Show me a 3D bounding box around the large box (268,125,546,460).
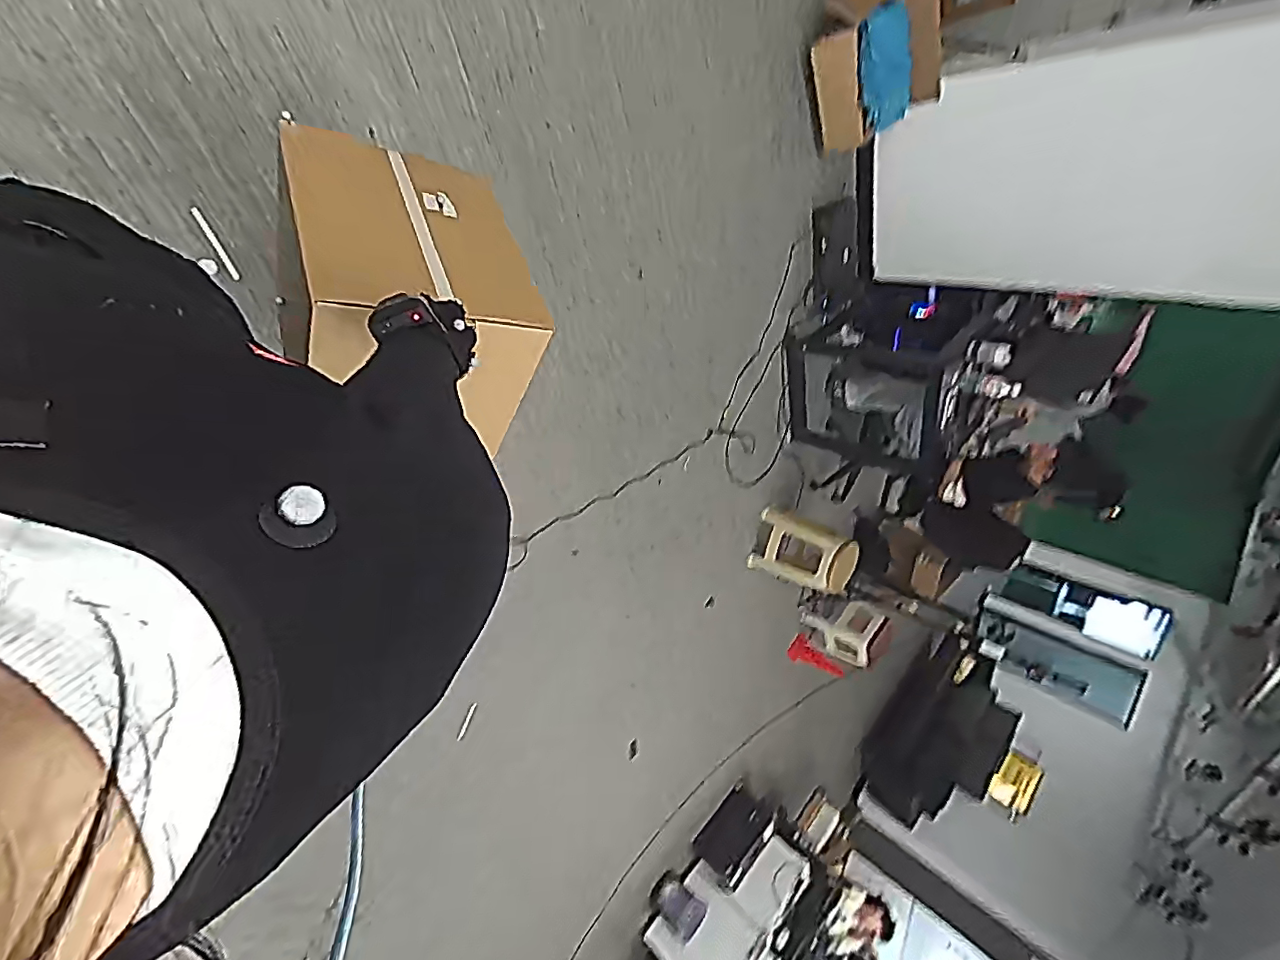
[{"bbox_3d":[-0.409,-0.287,0.899,0.320,0.408,0.320,-5,146,-39],"label":"large box"}]
